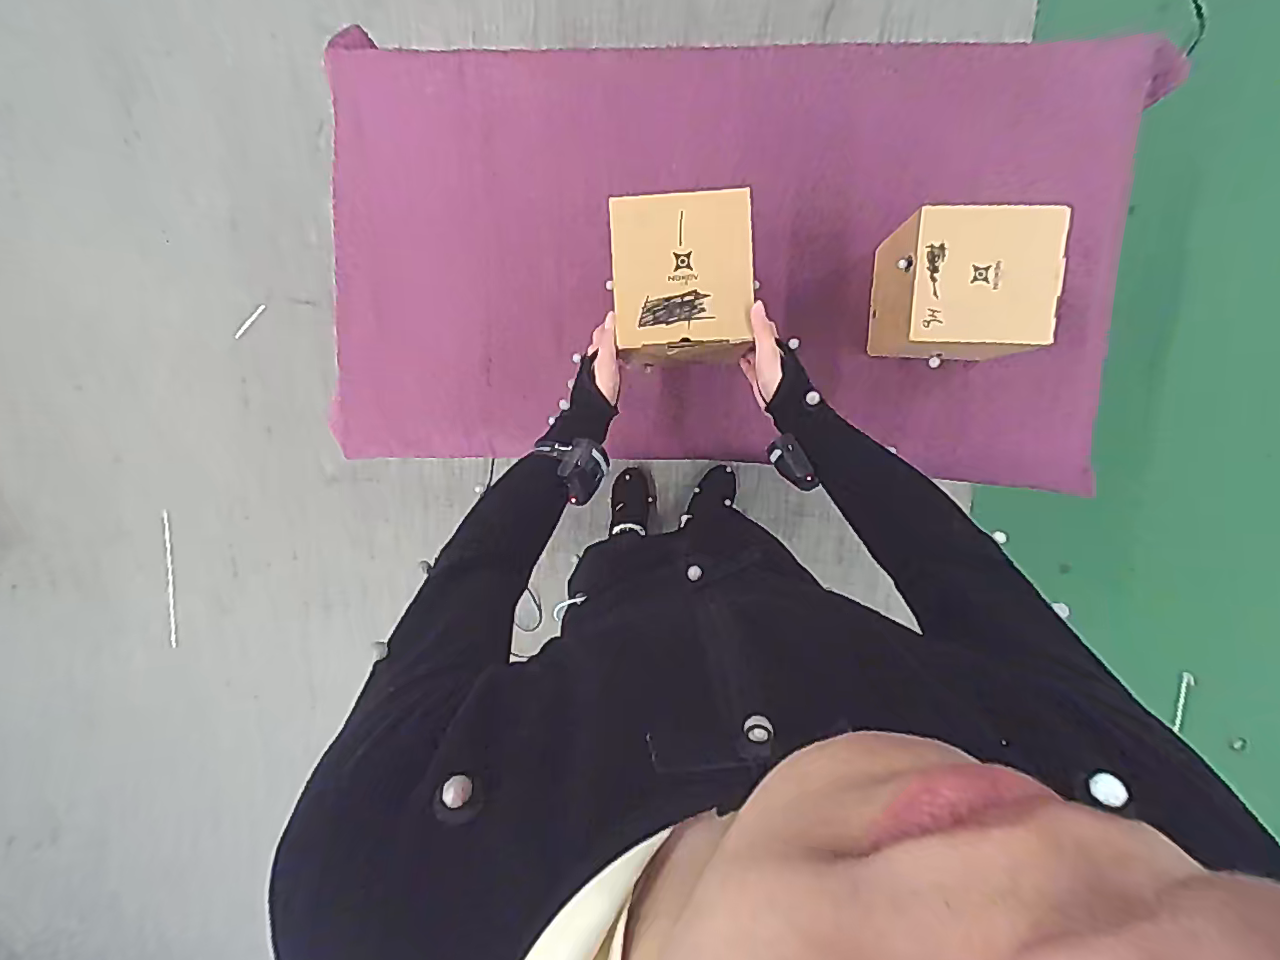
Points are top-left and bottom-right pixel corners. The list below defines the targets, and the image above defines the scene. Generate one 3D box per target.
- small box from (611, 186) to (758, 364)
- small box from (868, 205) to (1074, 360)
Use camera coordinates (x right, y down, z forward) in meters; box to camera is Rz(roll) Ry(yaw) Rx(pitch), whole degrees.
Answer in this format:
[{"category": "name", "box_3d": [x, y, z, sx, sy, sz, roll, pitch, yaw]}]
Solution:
[{"category": "small box", "box_3d": [0.056, -0.247, 0.699, 0.168, 0.176, 0.179, -3, 93, 2]}, {"category": "small box", "box_3d": [0.437, -0.259, 0.743, 0.179, 0.176, 0.168, 3, 96, 4]}]
